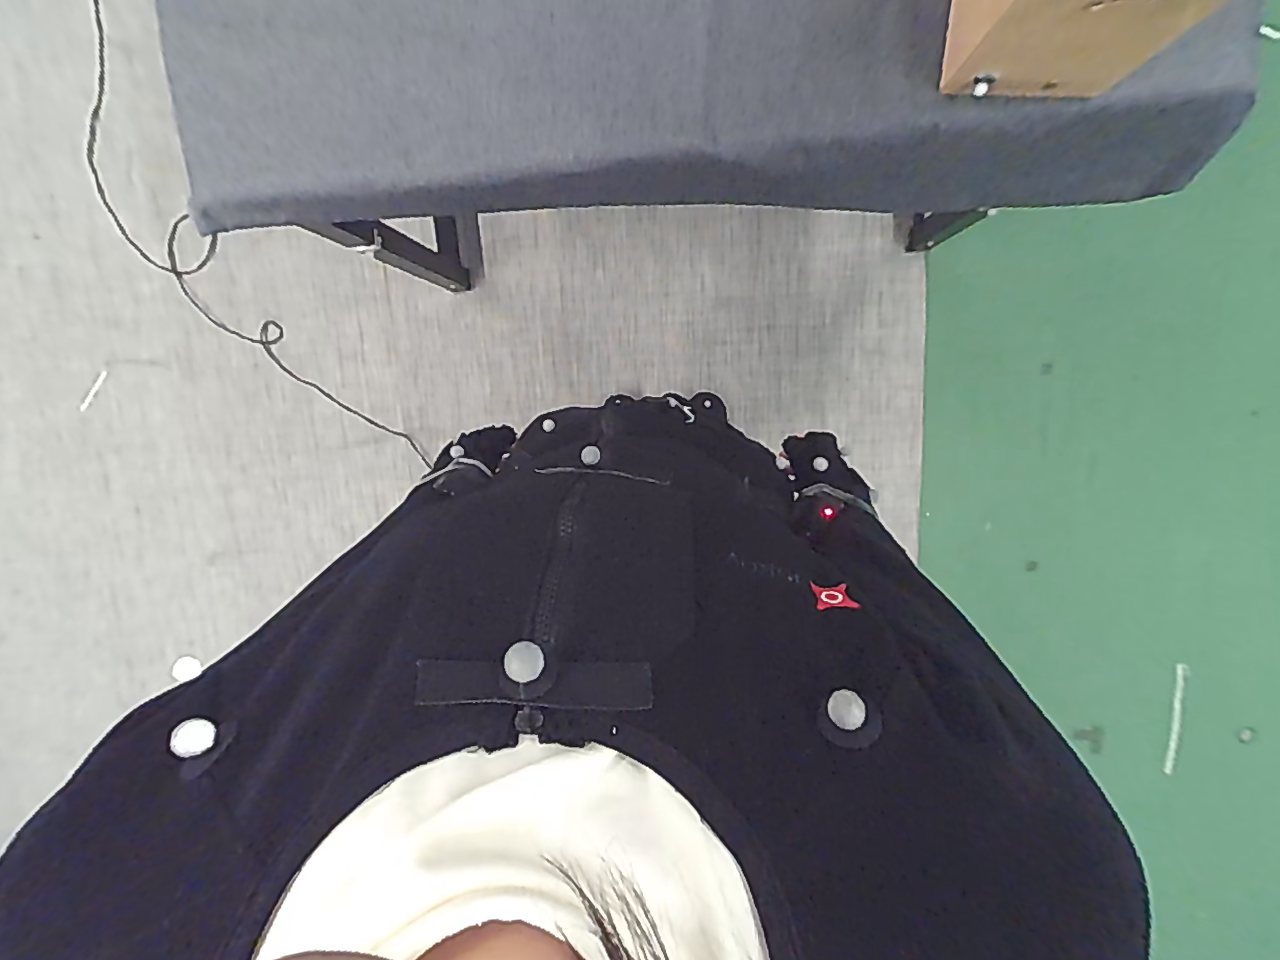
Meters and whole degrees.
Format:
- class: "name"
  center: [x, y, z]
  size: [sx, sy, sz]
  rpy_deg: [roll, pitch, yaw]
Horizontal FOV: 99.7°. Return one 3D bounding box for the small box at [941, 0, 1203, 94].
- class: "small box"
  center: [0.407, -0.495, 0.502]
  size: [0.168, 0.176, 0.179]
  rpy_deg: [5, 98, 4]
